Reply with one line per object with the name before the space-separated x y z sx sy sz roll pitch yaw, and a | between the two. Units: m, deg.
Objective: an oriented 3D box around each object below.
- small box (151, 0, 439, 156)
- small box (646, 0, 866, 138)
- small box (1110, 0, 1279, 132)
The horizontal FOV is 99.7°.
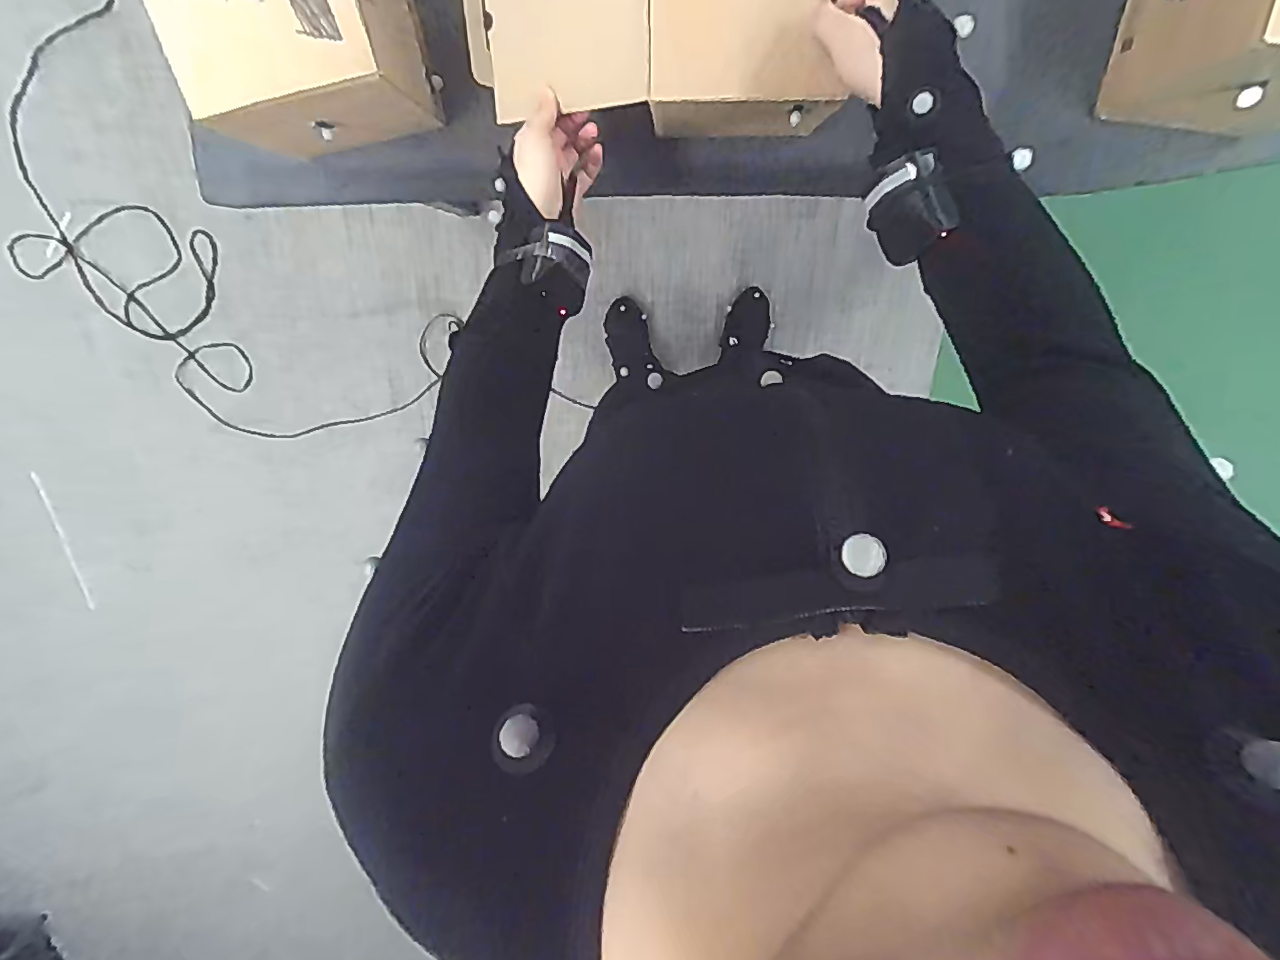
small box | -0.312 -0.428 0.512 0.179 0.176 0.168 -10 111 6
small box | 0.098 -0.426 0.498 0.179 0.176 0.168 0 114 4
small box | 0.585 -0.434 0.480 0.179 0.176 0.168 6 107 0
